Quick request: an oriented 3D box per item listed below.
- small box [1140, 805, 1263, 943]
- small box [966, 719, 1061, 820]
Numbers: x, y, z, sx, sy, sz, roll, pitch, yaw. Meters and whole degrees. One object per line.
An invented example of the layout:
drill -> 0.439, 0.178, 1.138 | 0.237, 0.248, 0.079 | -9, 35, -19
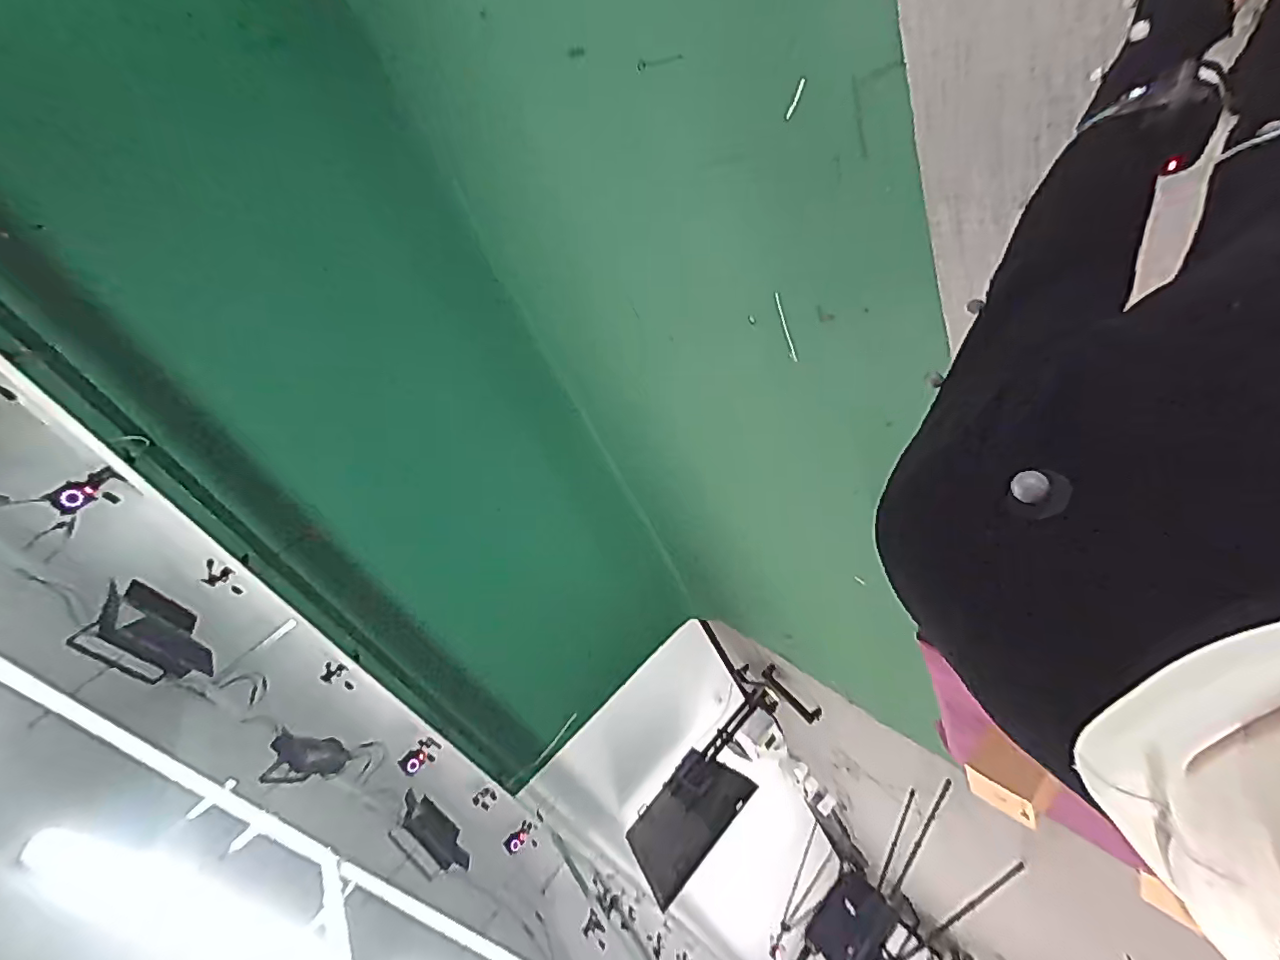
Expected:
small box -> 1.310, 0.912, 1.265 | 0.168, 0.176, 0.179 | 19, 146, 55
small box -> 1.091, 0.833, 1.580 | 0.179, 0.176, 0.168 | 20, 146, 53
